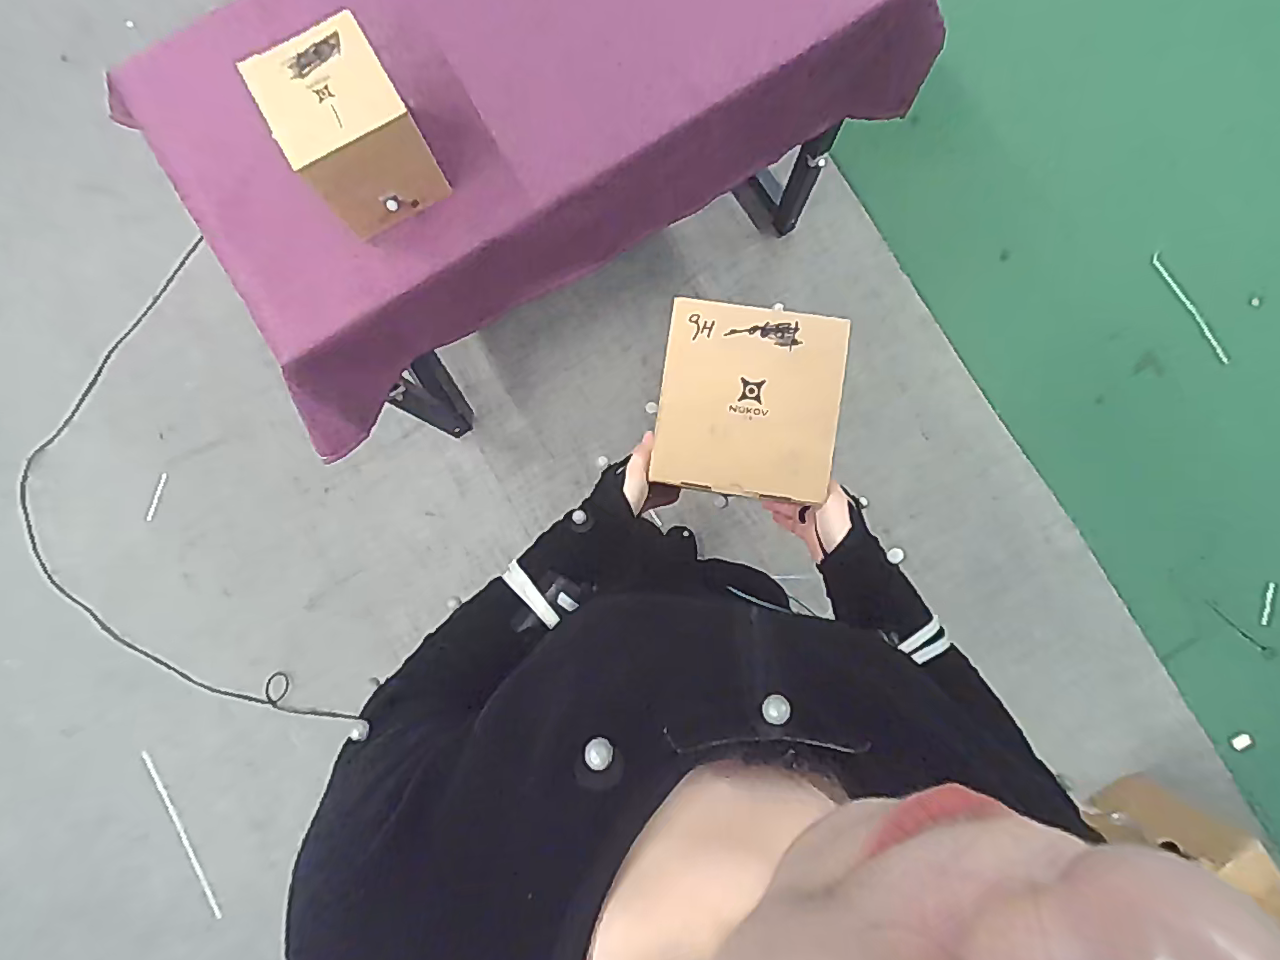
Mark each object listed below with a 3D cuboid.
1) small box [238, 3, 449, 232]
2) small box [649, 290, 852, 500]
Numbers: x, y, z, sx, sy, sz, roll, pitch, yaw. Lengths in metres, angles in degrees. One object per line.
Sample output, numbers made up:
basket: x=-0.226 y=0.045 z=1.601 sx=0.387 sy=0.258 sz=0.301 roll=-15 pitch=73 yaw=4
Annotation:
small box: x=-0.406 y=-0.500 z=0.771 sx=0.168 sy=0.176 sz=0.179 roll=-30 pitch=85 yaw=-2
small box: x=0.105 y=-0.080 z=0.579 sx=0.168 sy=0.176 sz=0.179 roll=8 pitch=91 yaw=2
